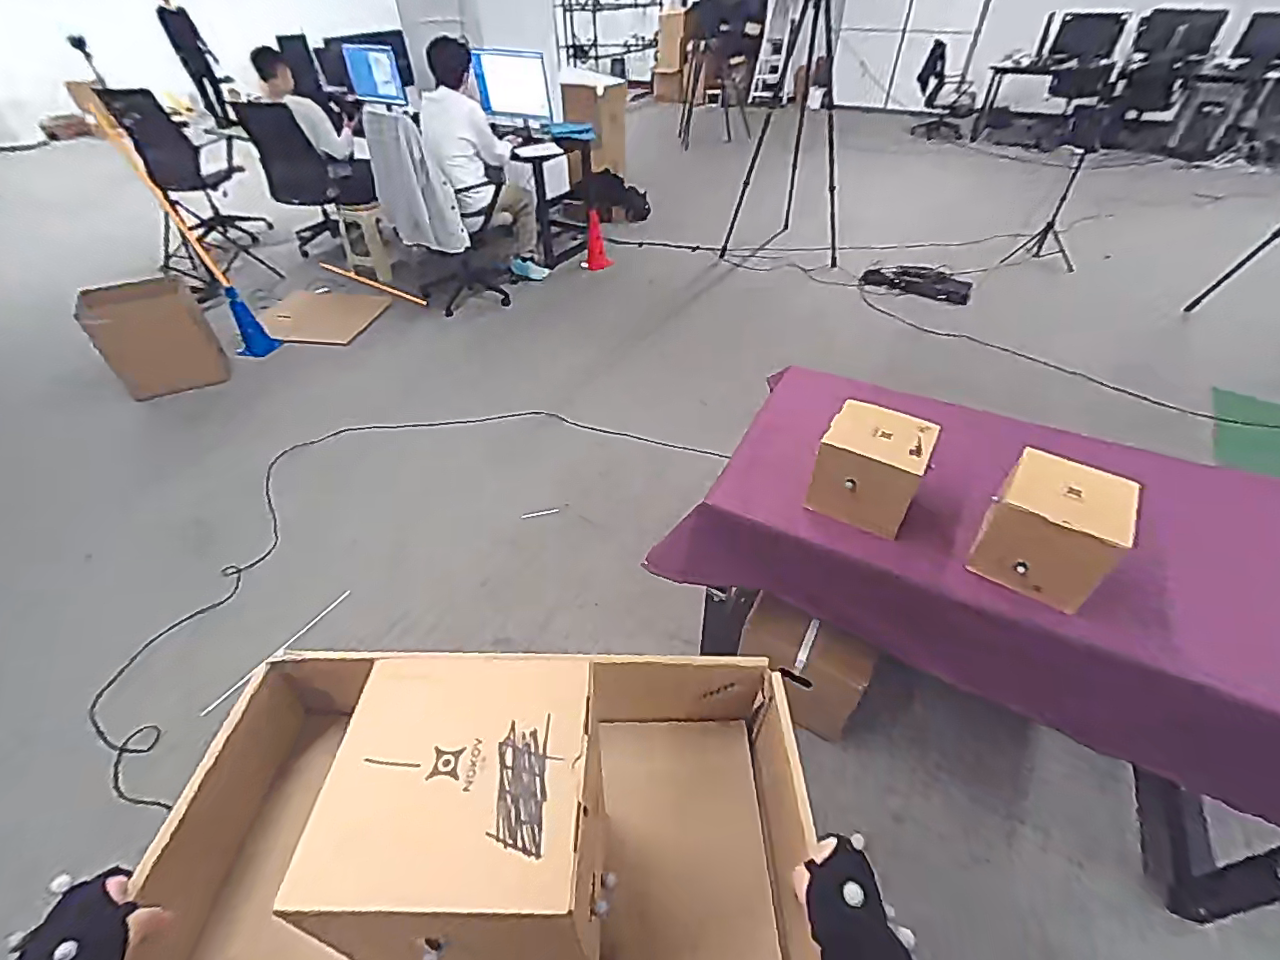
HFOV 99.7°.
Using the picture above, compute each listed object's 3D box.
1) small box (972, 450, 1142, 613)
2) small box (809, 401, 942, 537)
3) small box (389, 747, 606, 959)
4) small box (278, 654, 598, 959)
[{"bbox_3d":[0.693,0.085,0.911,0.168,0.176,0.179,27,50,27],"label":"small box"},{"bbox_3d":[0.440,-0.020,1.028,0.179,0.176,0.168,23,48,25],"label":"small box"},{"bbox_3d":[-0.127,0.381,0.535,0.179,0.176,0.168,0,41,-1],"label":"small box"},{"bbox_3d":[-0.126,0.257,0.428,0.179,0.176,0.168,0,40,0],"label":"small box"}]
